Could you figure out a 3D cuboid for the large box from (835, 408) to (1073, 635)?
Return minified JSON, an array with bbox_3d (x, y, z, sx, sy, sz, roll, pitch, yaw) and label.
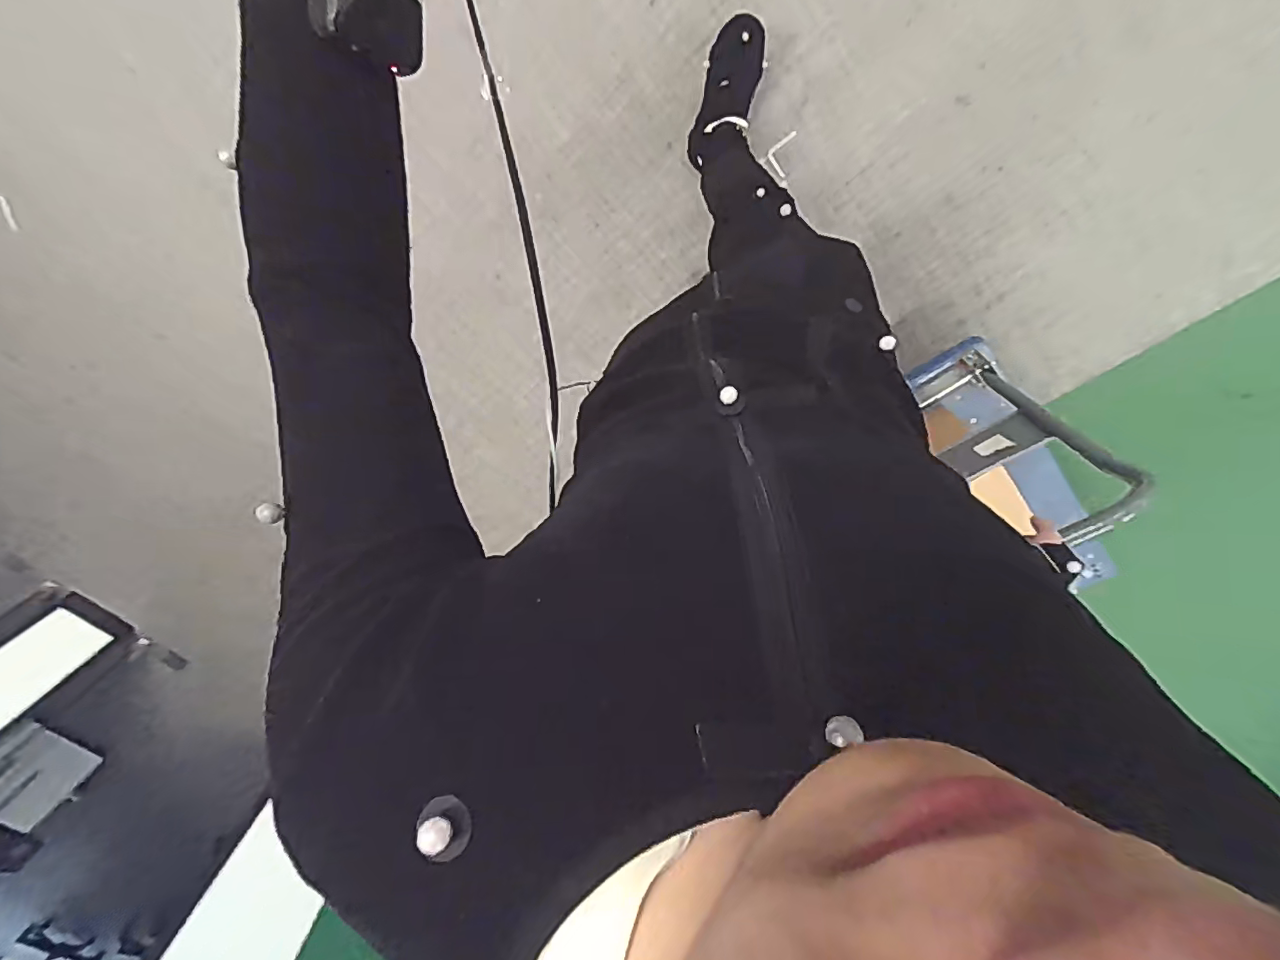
[{"bbox_3d":[0.757,0.099,1.354,0.320,0.320,0.408,-35,111,24],"label":"large box"}]
